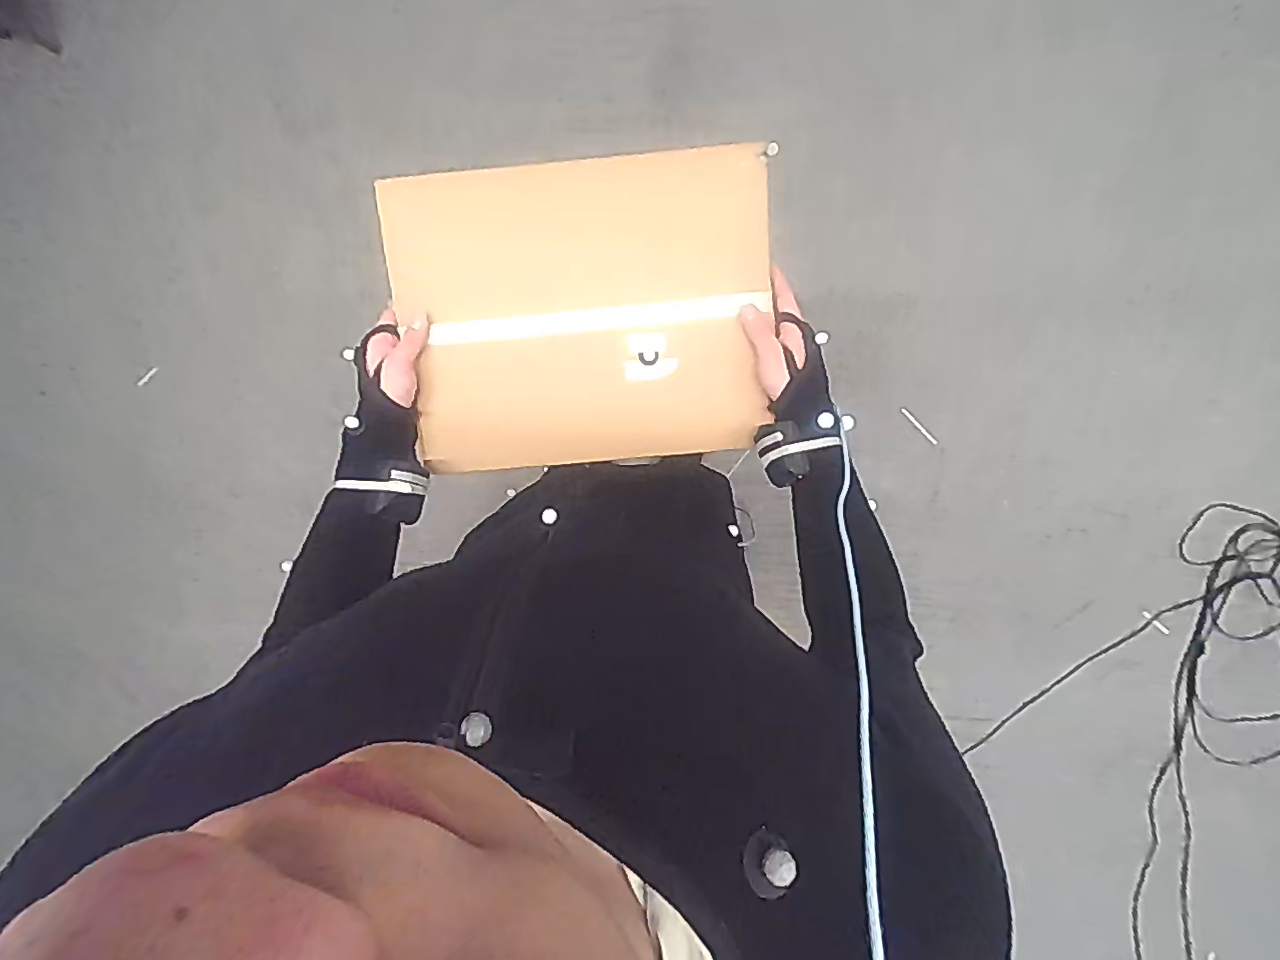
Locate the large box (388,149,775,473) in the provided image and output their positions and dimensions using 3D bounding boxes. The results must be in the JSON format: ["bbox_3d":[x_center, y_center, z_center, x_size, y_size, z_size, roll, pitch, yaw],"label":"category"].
[{"bbox_3d":[-0.059,-0.205,0.743,0.408,0.320,0.320,-5,102,1],"label":"large box"}]
